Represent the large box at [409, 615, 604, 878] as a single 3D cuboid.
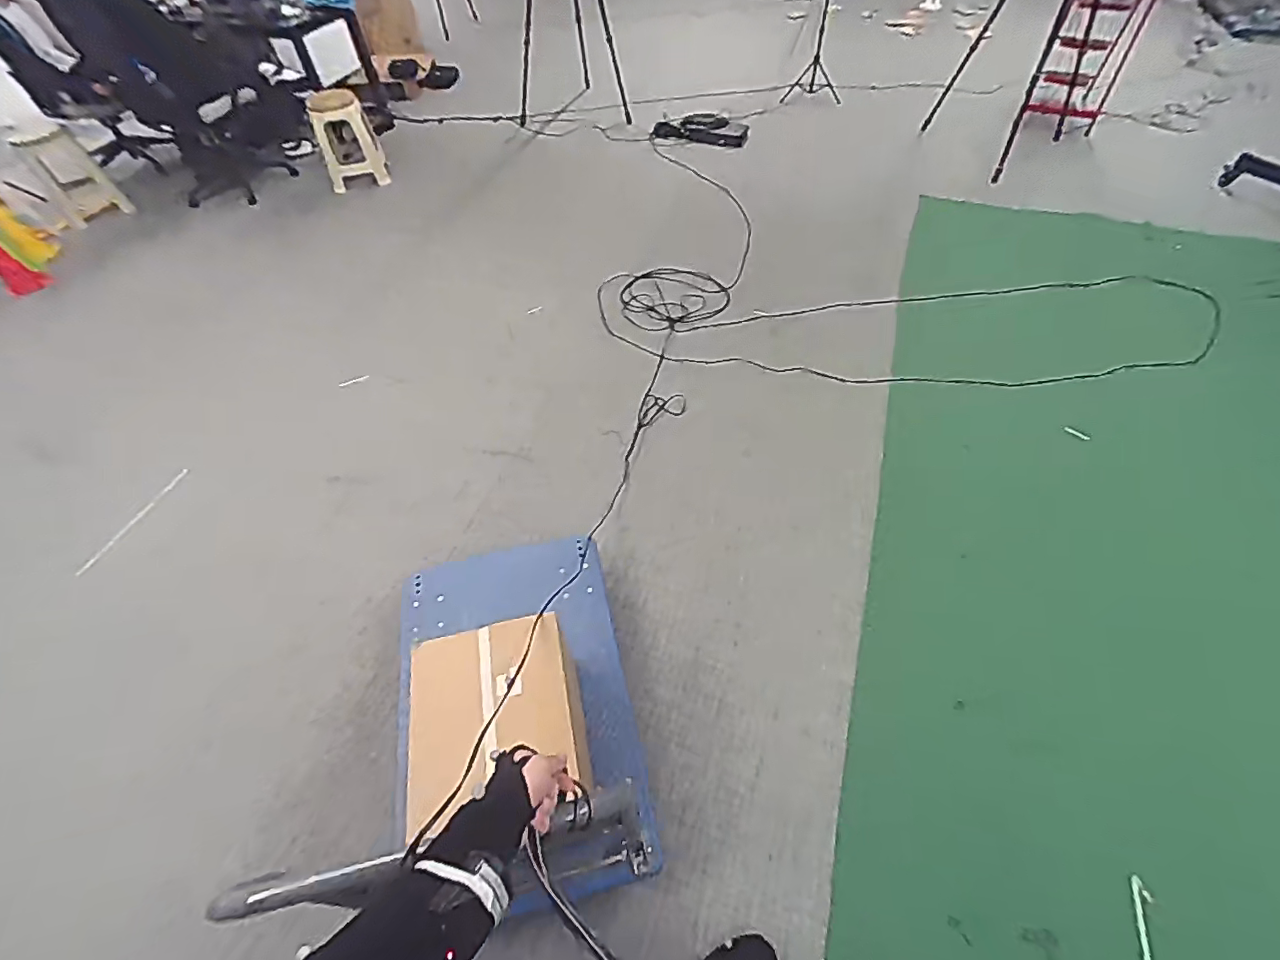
[{"bbox_3d":[-0.280,0.567,1.158,0.320,0.320,0.408,-12,52,-7],"label":"large box"}]
